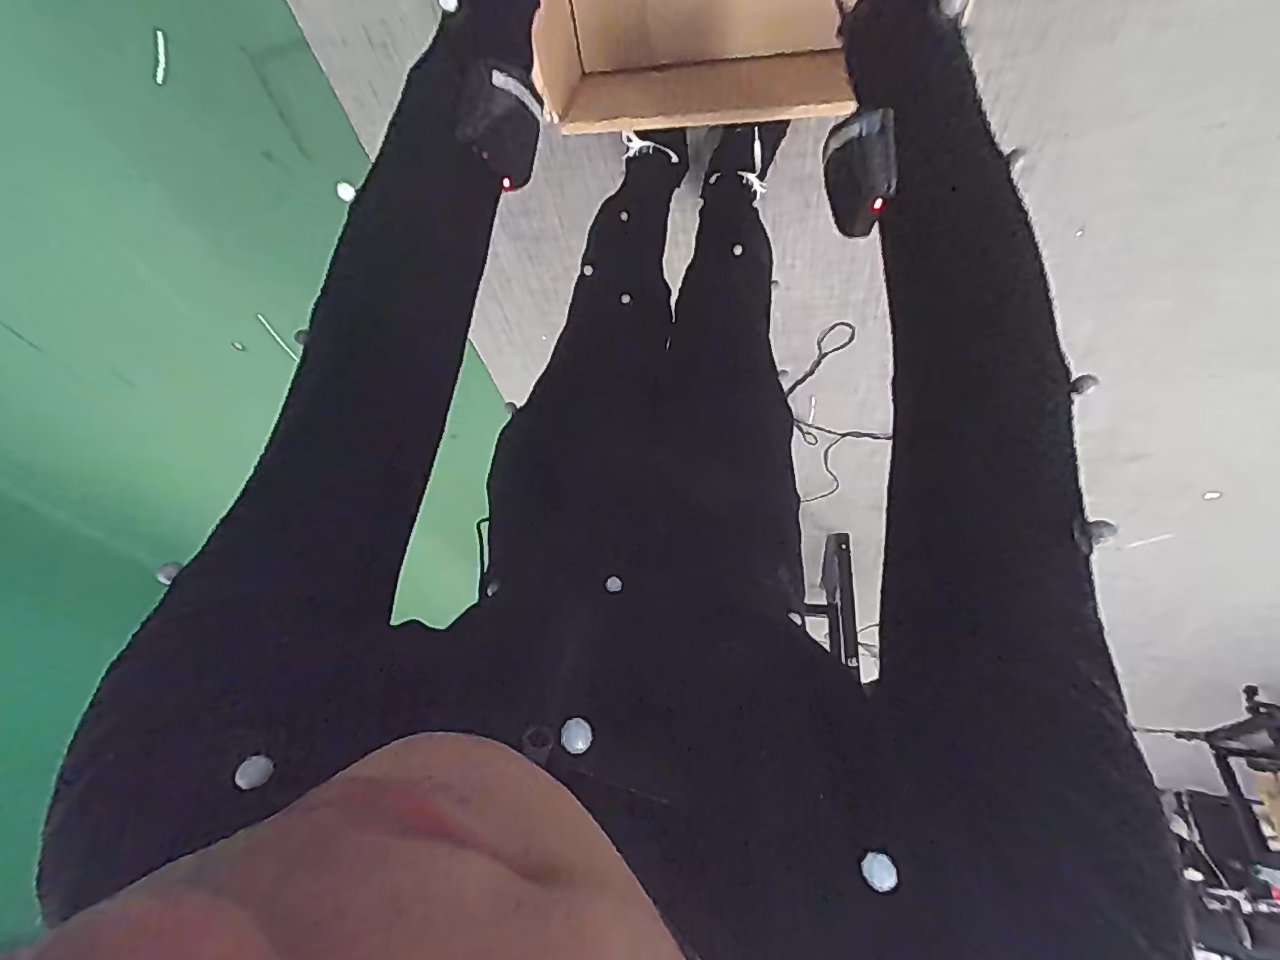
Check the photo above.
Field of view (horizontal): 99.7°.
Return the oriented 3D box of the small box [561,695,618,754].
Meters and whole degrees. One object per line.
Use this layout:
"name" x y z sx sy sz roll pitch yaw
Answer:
"small box" -0.188 0.940 2.077 0.168 0.176 0.179 1 146 11
